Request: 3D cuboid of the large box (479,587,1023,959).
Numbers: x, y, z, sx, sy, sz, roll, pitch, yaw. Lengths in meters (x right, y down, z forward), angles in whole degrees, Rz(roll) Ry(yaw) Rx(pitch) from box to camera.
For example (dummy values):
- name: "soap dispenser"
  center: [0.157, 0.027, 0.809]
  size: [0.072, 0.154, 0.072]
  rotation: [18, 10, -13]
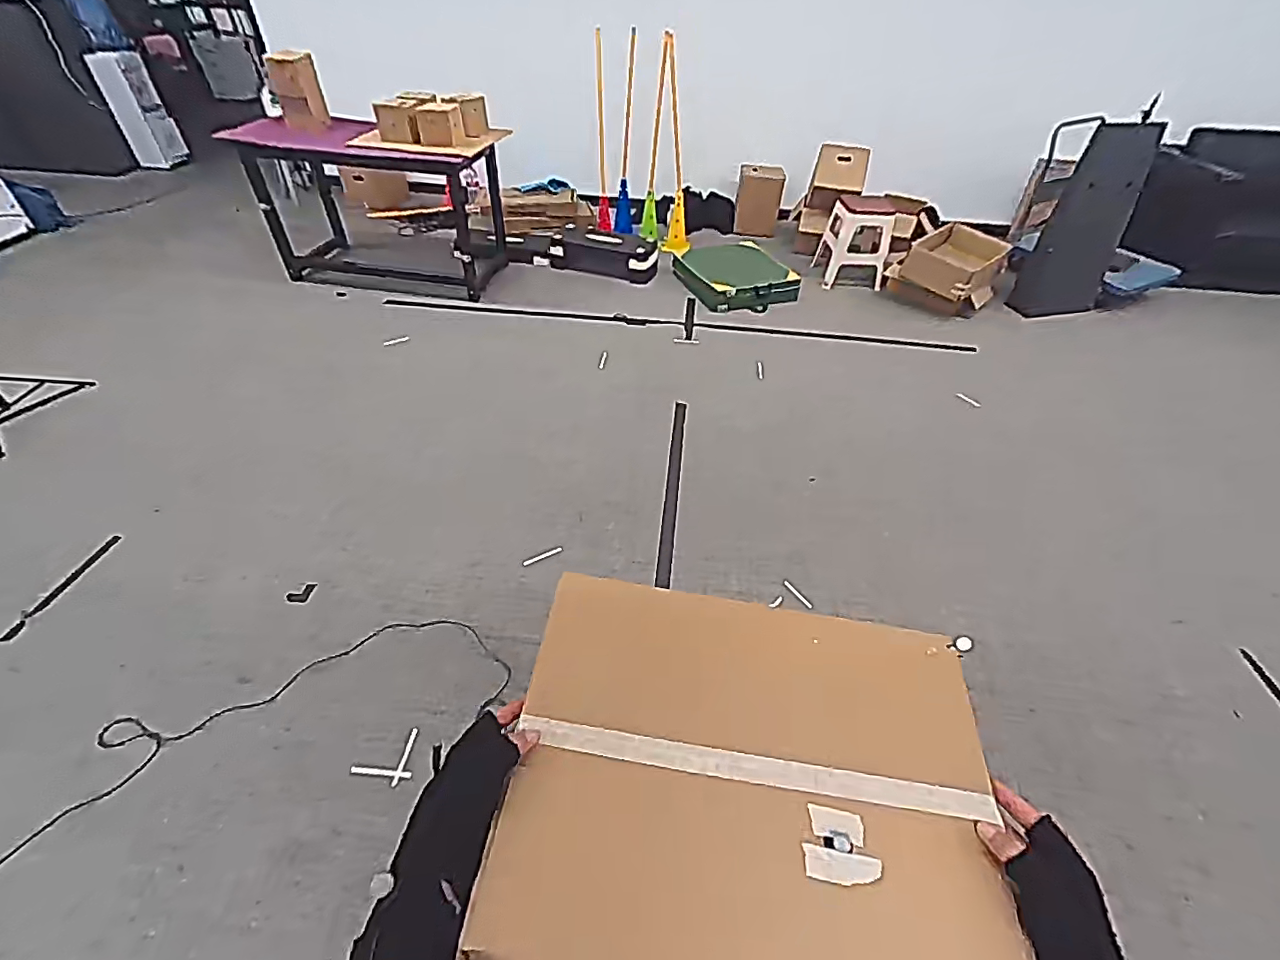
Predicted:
- name: "large box"
  center: [0.087, 0.349, 0.581]
  size: [0.408, 0.320, 0.320]
  rotation: [9, 50, 2]
